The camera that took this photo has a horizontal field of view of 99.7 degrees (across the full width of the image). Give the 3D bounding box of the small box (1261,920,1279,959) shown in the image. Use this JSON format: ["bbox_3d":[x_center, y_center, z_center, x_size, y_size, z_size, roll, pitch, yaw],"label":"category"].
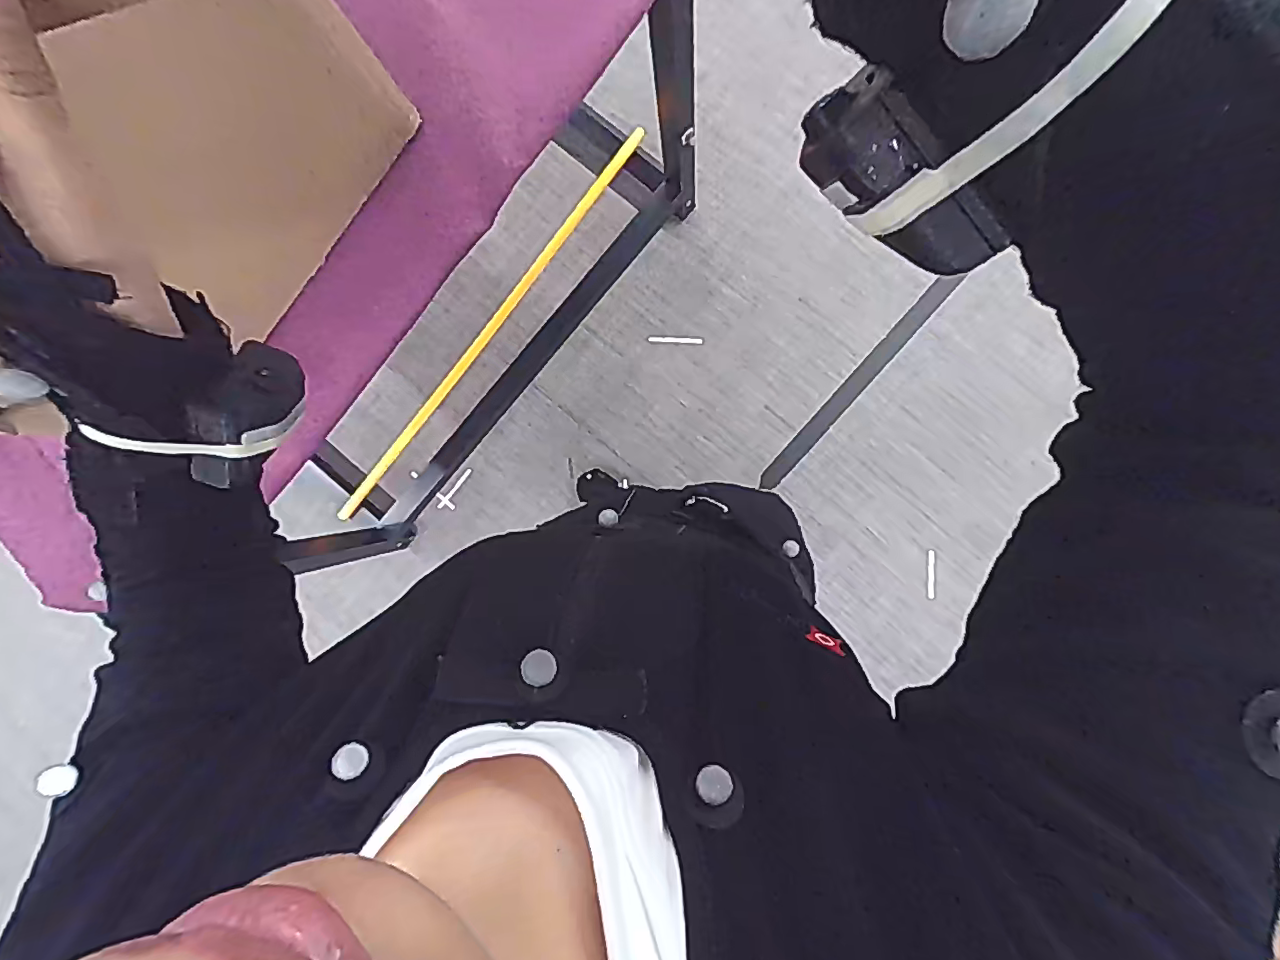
[{"bbox_3d":[1.551,1.062,1.165,0.168,0.176,0.179,41,94,4],"label":"small box"}]
